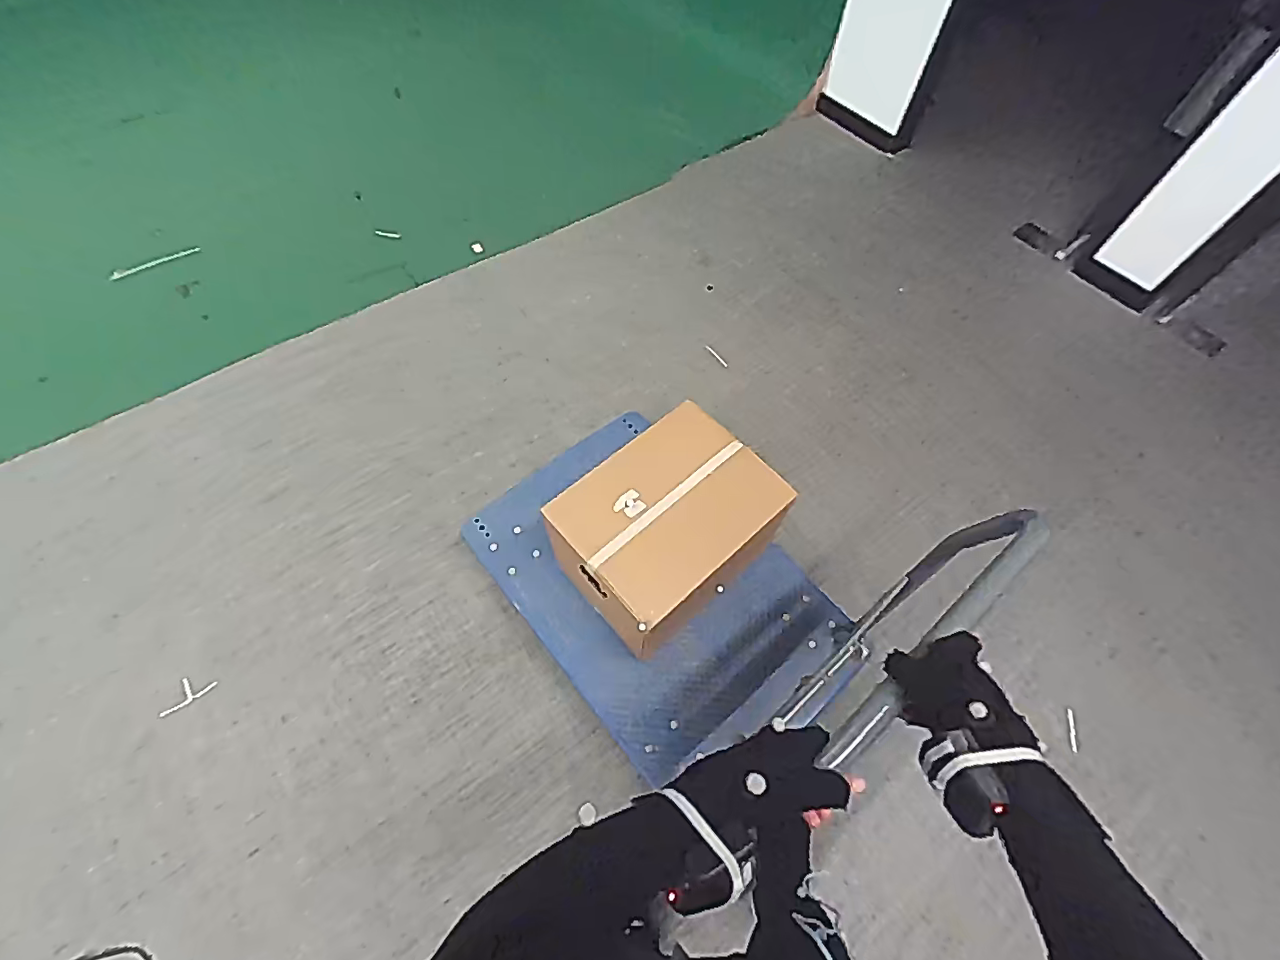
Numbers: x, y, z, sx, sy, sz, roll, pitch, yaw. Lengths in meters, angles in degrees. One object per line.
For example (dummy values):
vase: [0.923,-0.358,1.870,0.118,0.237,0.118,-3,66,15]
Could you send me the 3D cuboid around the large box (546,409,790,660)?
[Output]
large box: [0.059,0.126,1.199,0.408,0.320,0.320,-38,67,-19]
